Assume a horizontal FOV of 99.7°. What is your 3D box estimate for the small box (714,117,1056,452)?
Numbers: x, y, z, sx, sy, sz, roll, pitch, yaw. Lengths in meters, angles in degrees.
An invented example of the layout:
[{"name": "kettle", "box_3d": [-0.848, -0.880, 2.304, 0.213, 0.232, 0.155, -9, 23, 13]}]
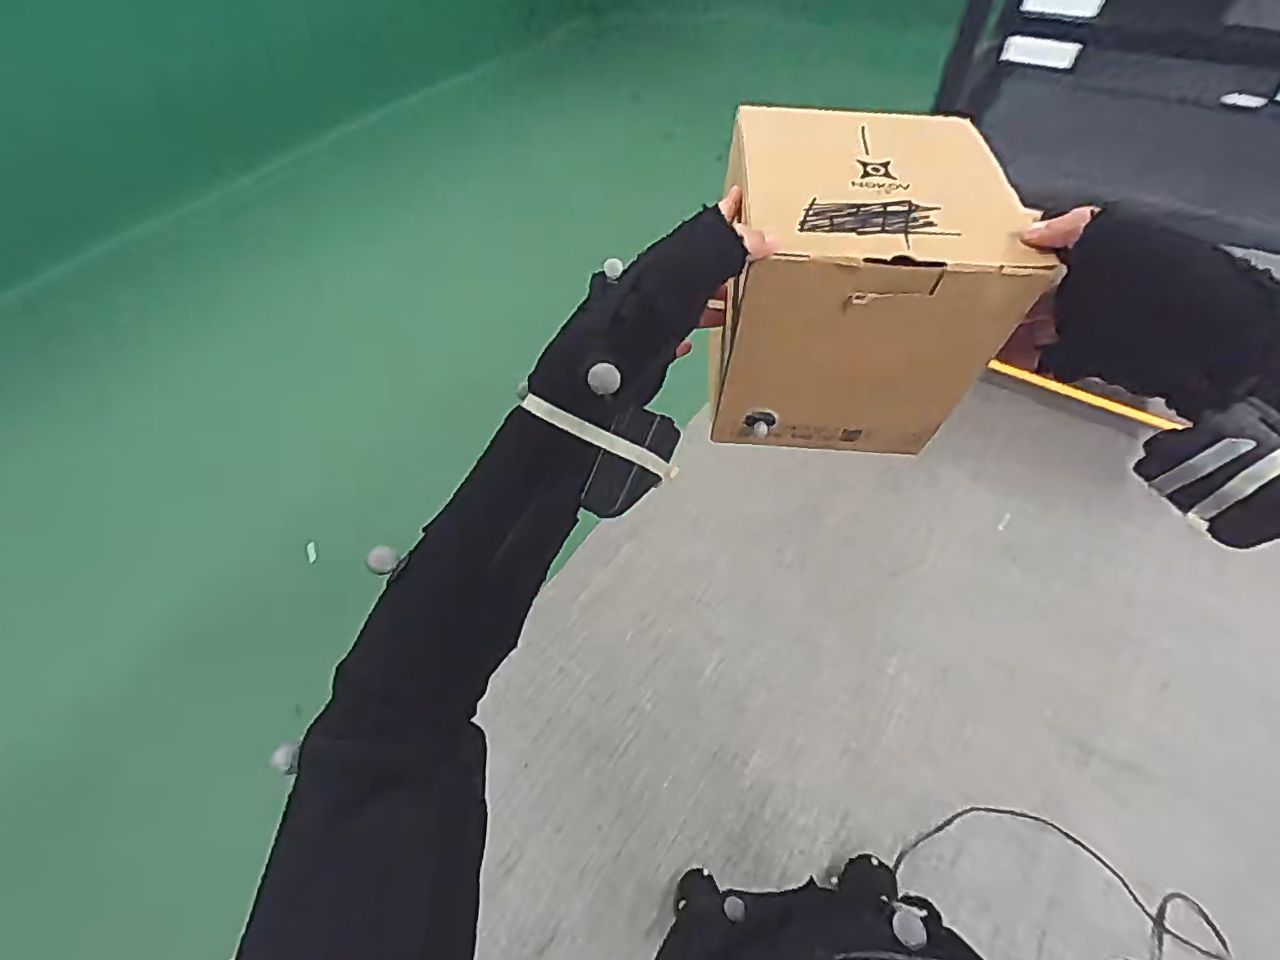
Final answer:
[{"name": "small box", "box_3d": [0.148, -0.138, 0.404, 0.168, 0.176, 0.179, 4, 56, 1]}]
